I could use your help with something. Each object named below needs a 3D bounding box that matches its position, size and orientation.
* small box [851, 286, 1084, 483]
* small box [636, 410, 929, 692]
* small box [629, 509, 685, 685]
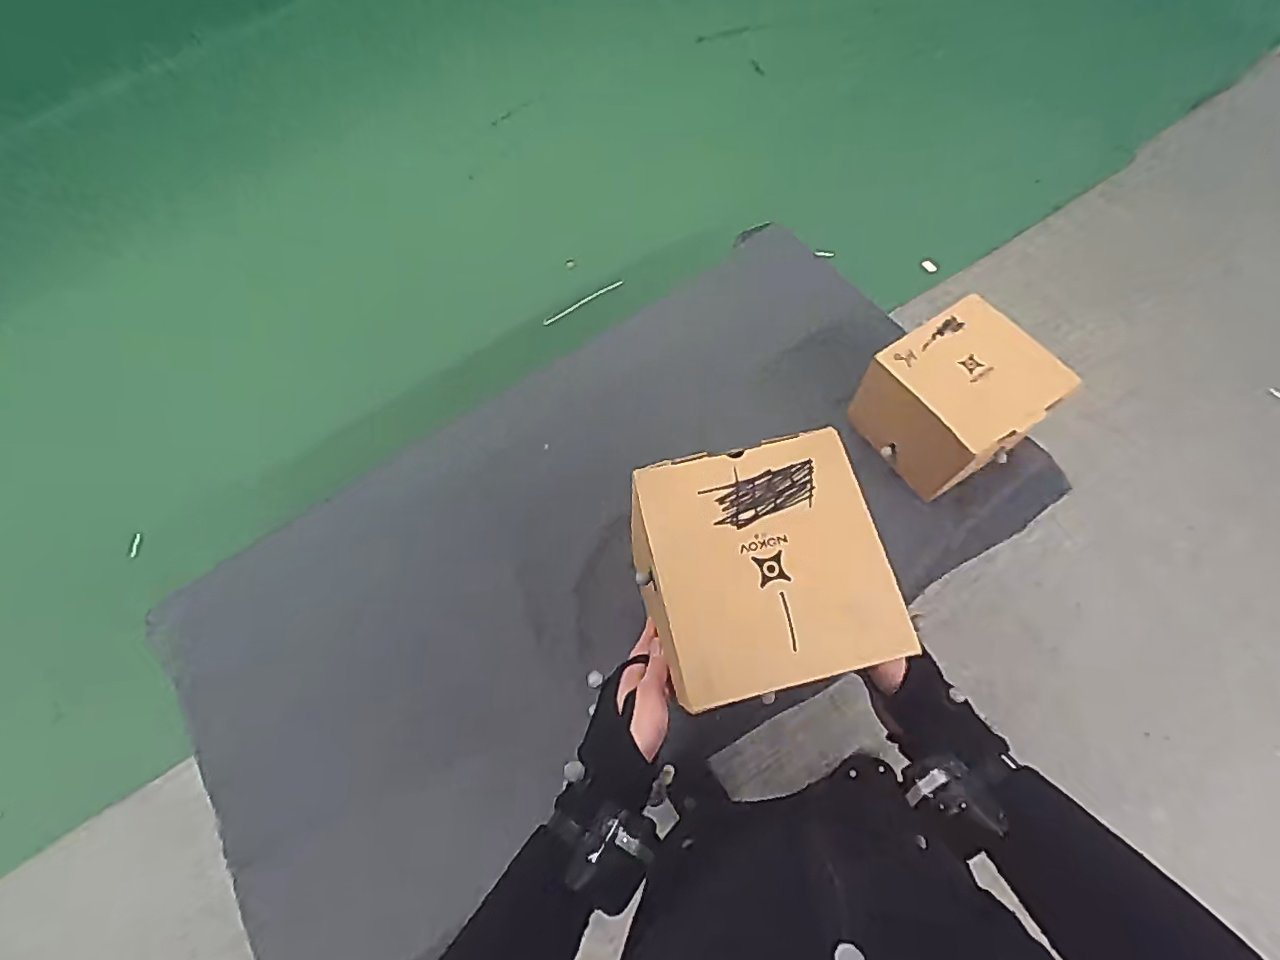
[{"bbox_3d":[0.419,-0.114,0.729,0.168,0.176,0.179,-32,68,-5],"label":"small box"},{"bbox_3d":[0.092,0.068,0.450,0.168,0.176,0.179,-12,71,-4],"label":"small box"},{"bbox_3d":[0.088,0.121,0.606,0.168,0.176,0.179,-12,69,-5],"label":"small box"}]
